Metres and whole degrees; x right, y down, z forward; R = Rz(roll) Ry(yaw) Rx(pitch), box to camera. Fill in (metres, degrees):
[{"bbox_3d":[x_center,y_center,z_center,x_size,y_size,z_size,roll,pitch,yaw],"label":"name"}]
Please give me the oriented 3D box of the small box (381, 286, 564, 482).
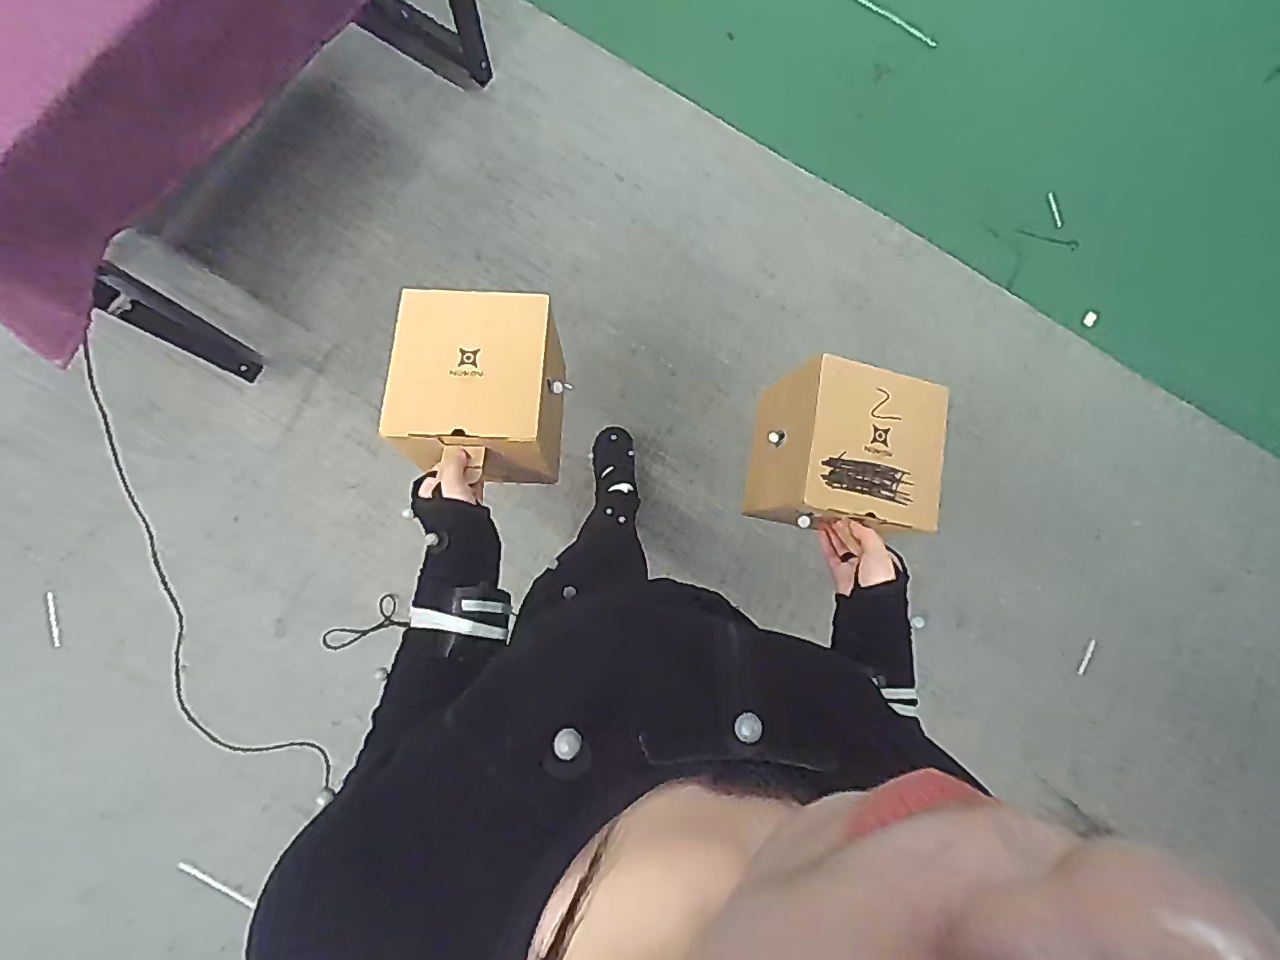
[{"bbox_3d":[-0.186,-0.107,0.656,0.168,0.176,0.179,2,75,-2],"label":"small box"}]
